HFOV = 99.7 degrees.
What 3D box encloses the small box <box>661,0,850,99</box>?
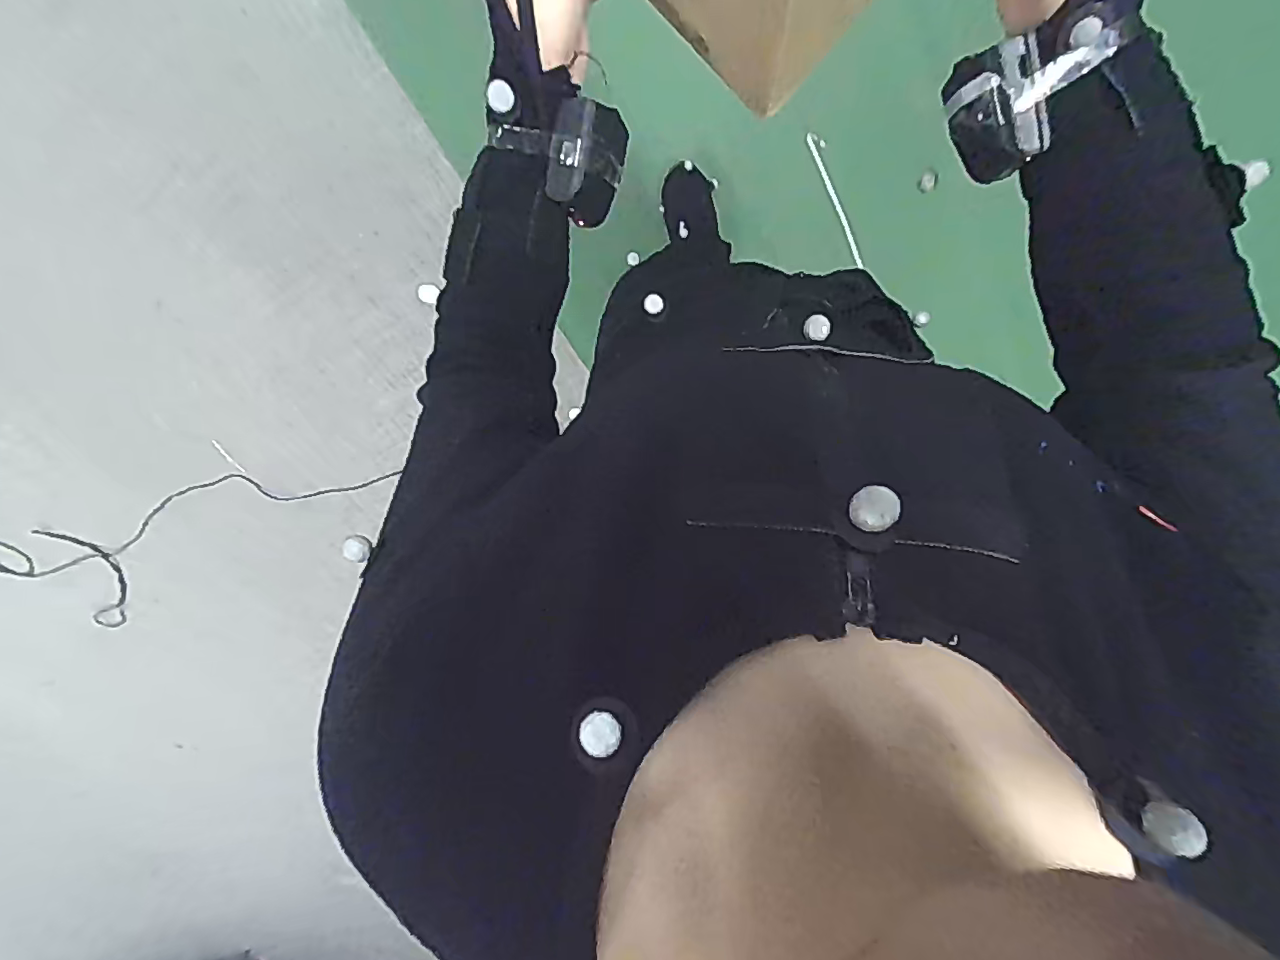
[{"bbox_3d":[0.068,-0.346,0.268,0.168,0.176,0.179,44,107,-4],"label":"small box"}]
